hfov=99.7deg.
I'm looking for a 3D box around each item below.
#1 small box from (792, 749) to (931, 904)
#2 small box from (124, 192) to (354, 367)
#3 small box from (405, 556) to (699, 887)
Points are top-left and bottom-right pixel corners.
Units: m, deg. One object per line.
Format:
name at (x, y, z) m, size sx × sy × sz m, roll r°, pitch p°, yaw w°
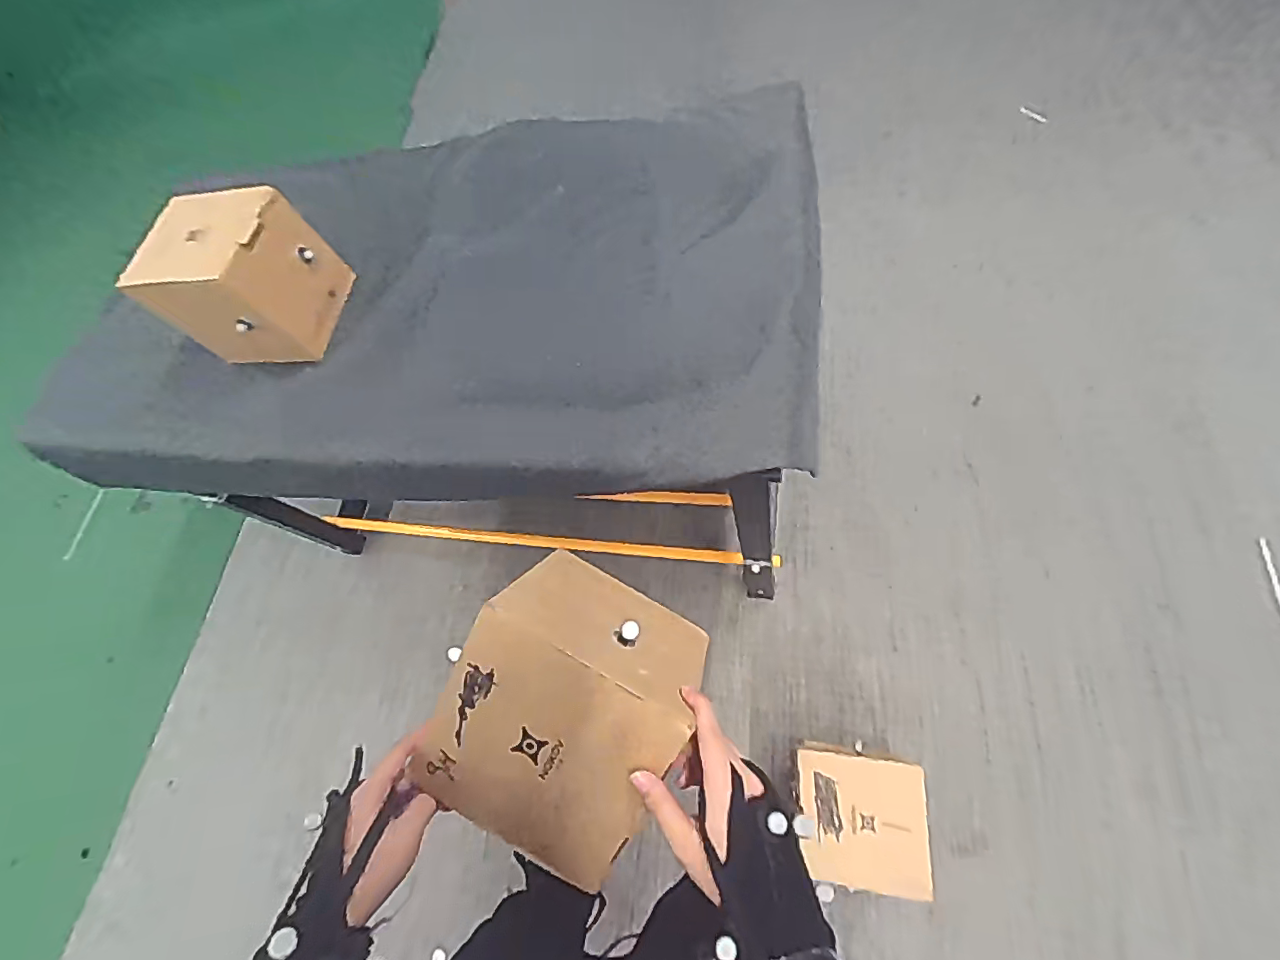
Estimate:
small box at (0.327, 0.518, 0.835) m, size 0.179 × 0.176 × 0.168 m, roll 1°, pitch 67°, yaw 13°
small box at (-0.557, -0.278, 0.780) m, size 0.179 × 0.176 × 0.168 m, roll 1°, pitch 65°, yaw 15°
small box at (-0.059, 0.187, 0.476) m, size 0.179 × 0.176 × 0.168 m, roll 28°, pitch 100°, yaw 5°
